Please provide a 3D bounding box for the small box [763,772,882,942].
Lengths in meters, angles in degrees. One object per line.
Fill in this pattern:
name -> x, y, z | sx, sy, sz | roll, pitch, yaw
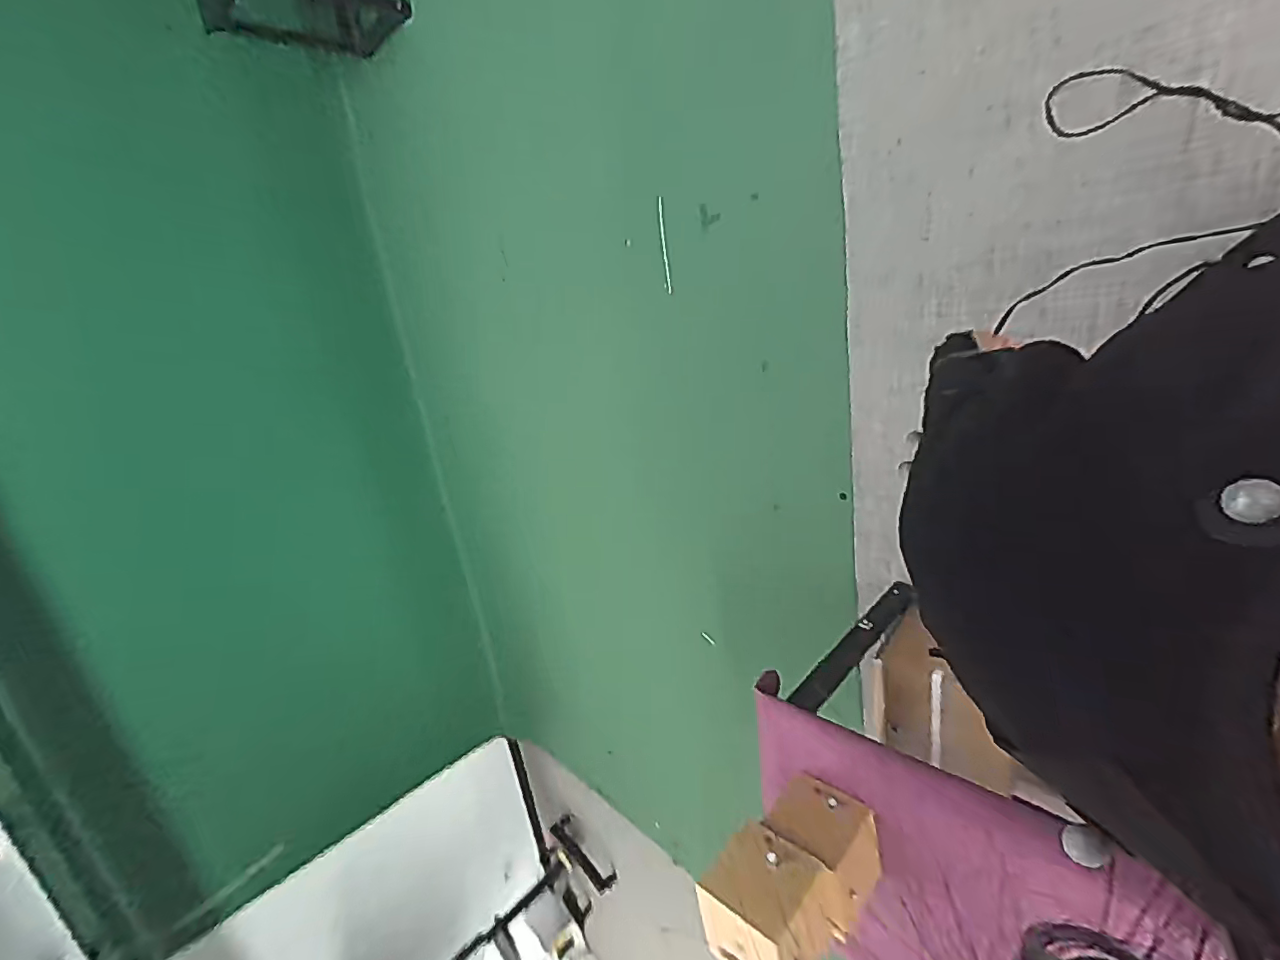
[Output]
small box -> 0.363, 0.731, 1.069 | 0.168, 0.176, 0.179 | 6, 113, 46

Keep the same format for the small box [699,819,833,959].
small box -> 0.233, 0.770, 0.974 | 0.168, 0.176, 0.179 | 6, 113, 45
